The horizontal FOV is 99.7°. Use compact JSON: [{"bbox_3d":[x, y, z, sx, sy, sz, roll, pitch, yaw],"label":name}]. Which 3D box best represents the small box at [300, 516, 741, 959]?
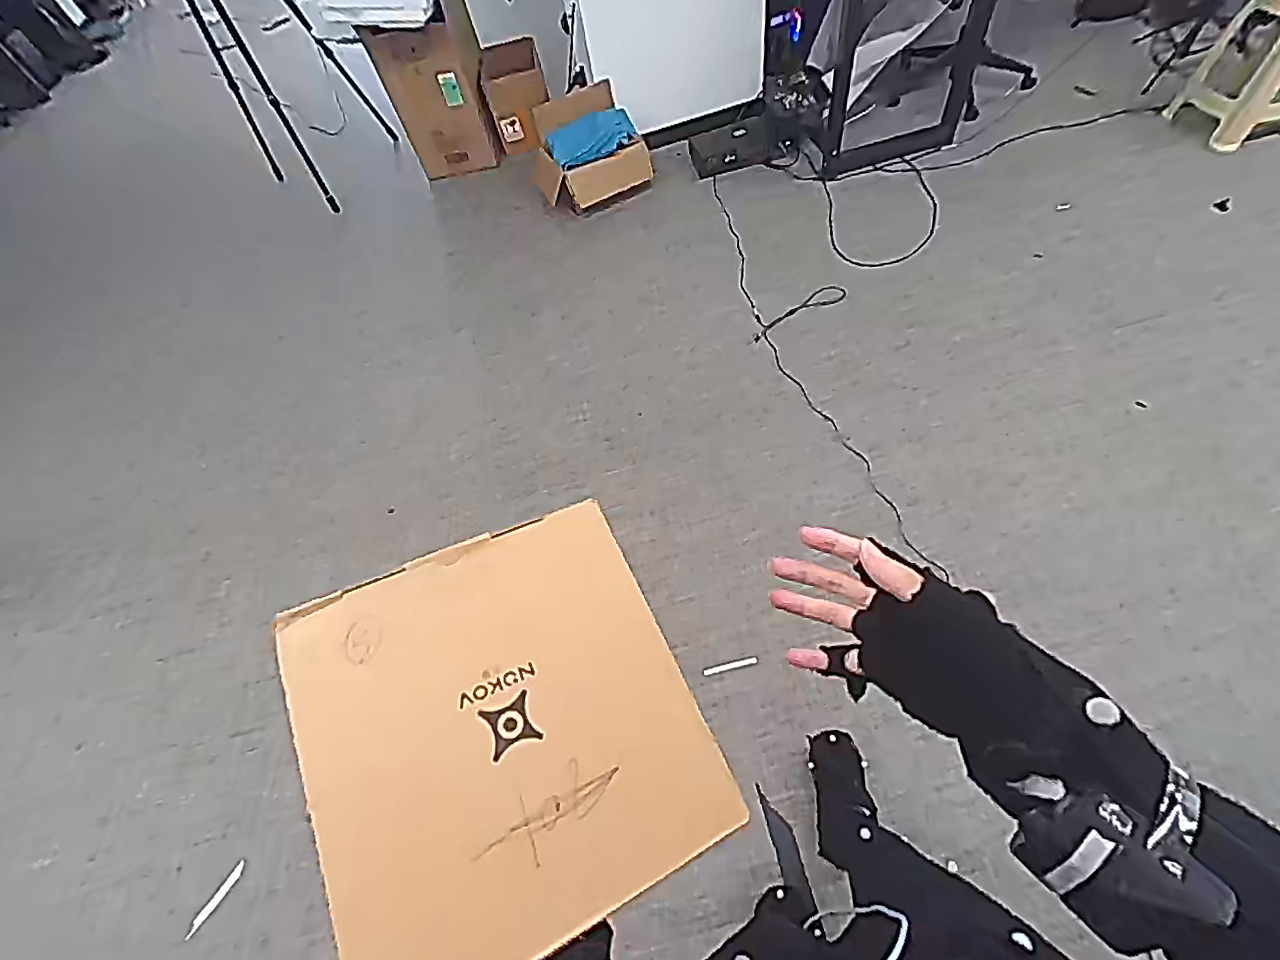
[{"bbox_3d":[-0.072,0.153,0.328,0.168,0.176,0.179,-20,67,-19],"label":"small box"}]
